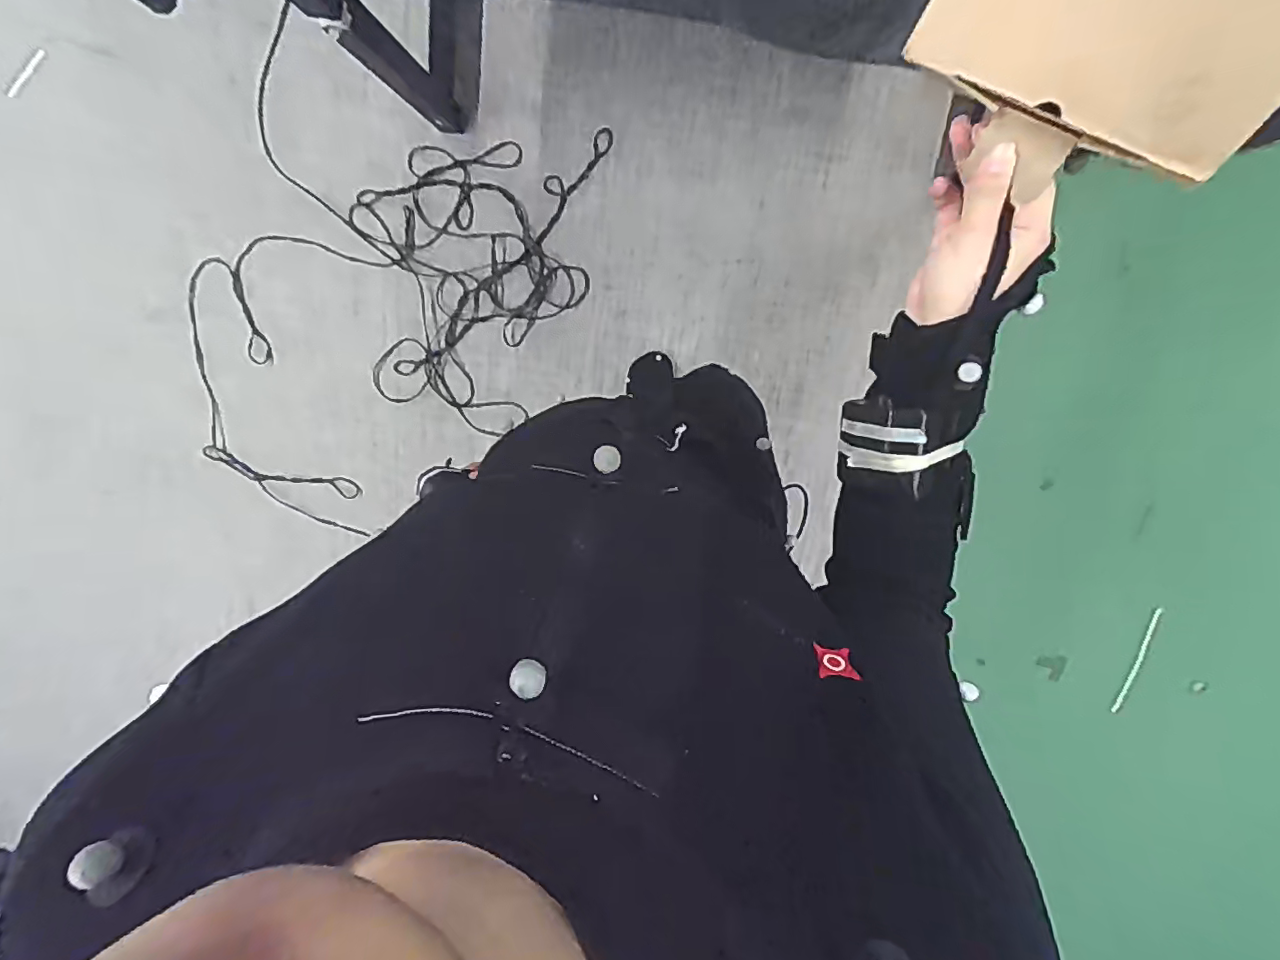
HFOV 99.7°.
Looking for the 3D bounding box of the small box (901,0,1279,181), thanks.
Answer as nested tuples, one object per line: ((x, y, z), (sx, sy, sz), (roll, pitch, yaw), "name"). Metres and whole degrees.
((0.274, -0.288, 0.288), (0.168, 0.176, 0.179), (33, 130, 10), "small box")
